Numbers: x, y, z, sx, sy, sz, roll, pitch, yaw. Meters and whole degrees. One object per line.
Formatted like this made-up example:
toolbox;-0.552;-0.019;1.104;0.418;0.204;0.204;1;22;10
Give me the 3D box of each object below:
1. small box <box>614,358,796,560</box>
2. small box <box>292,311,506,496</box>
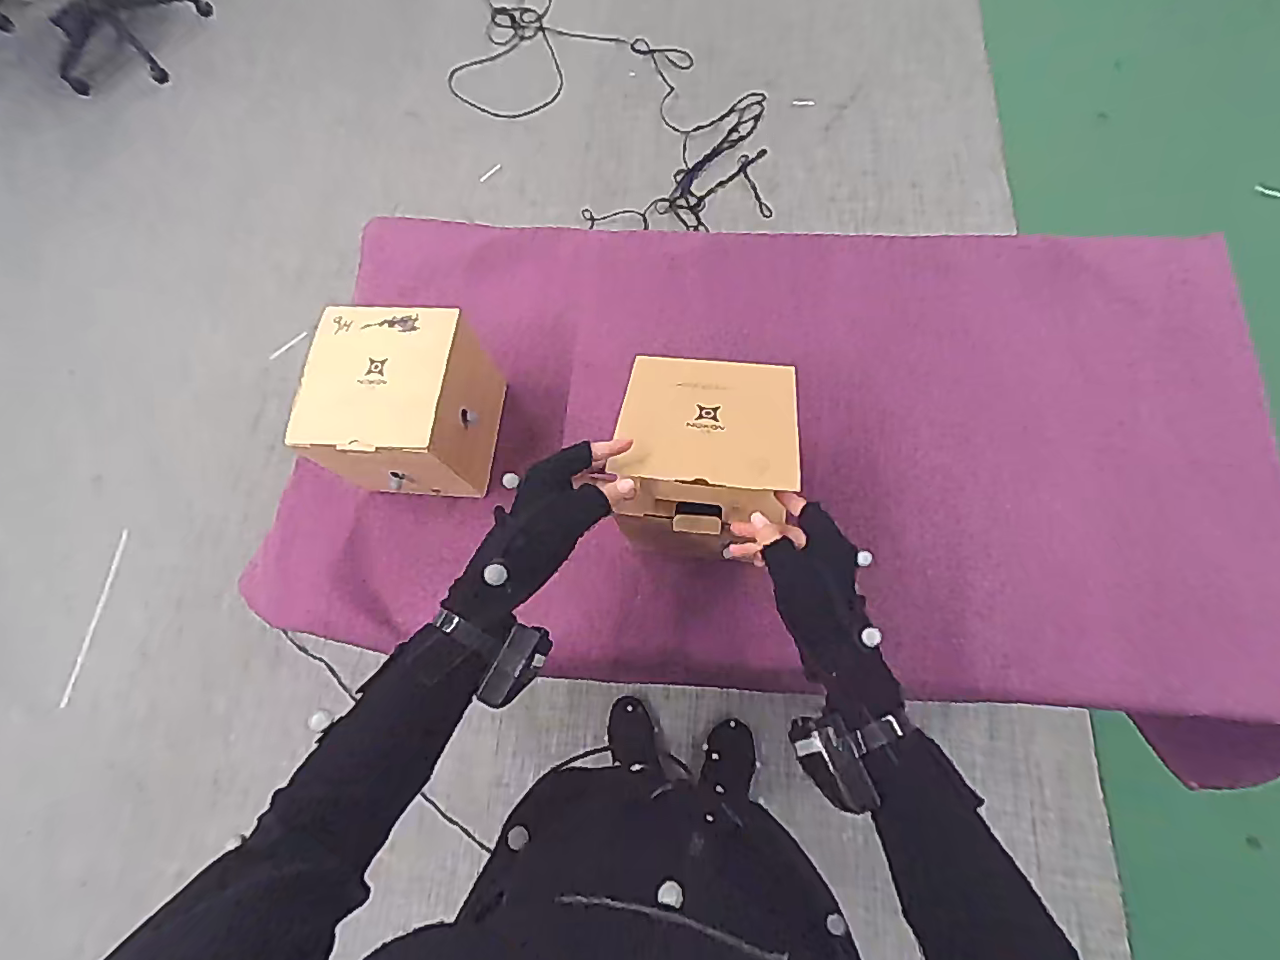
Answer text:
small box;0.075;-0.014;0.609;0.168;0.176;0.179;6;71;7
small box;-0.278;-0.086;0.669;0.168;0.176;0.179;3;72;6
